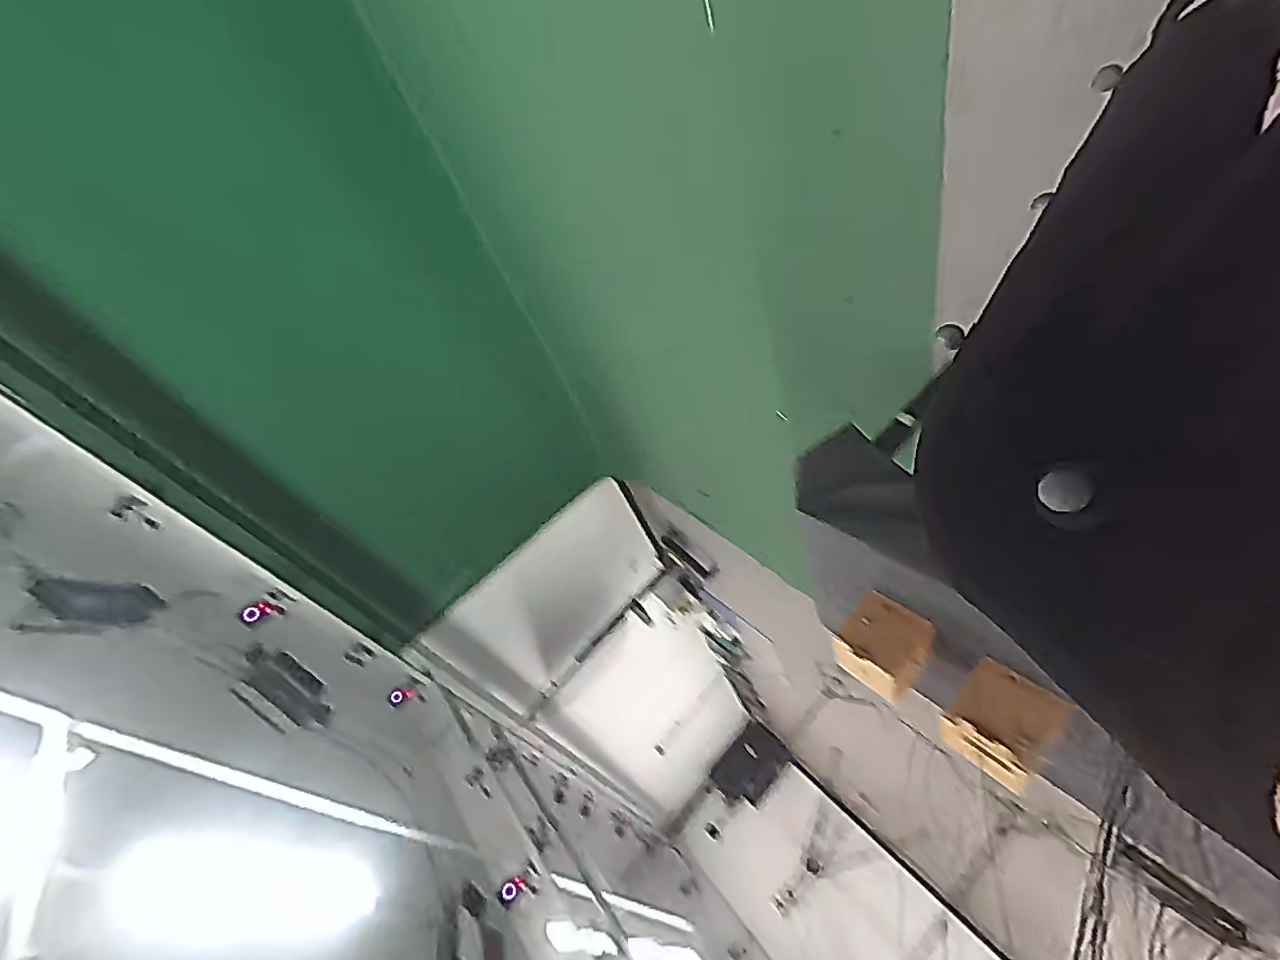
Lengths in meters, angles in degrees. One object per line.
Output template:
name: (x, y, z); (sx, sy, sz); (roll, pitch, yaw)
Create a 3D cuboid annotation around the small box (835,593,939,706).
small box: (0.609, 0.411, 1.330); (0.168, 0.176, 0.179); (34, 161, 45)
